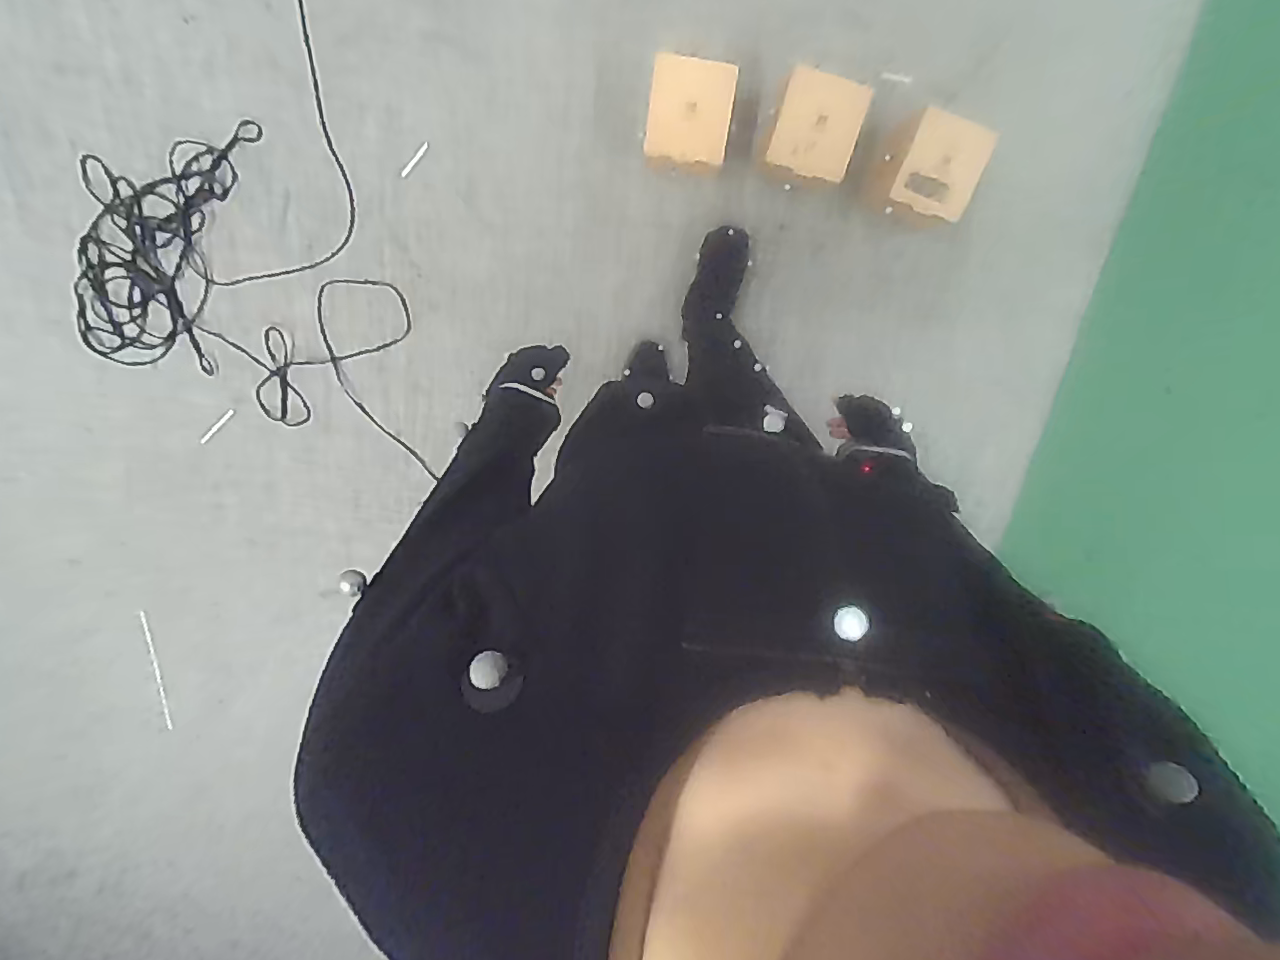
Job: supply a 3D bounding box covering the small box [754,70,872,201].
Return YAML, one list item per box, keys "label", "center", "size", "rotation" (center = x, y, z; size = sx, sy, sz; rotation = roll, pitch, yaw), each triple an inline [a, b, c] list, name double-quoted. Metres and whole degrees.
- label: "small box"
  center: [0.356, -0.722, 1.154]
  size: [0.168, 0.176, 0.179]
  rotation: [15, 109, -4]

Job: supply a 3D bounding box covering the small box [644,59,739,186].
- label: "small box"
  center: [0.101, -0.748, 1.150]
  size: [0.168, 0.176, 0.179]
  rotation: [8, 109, -2]
